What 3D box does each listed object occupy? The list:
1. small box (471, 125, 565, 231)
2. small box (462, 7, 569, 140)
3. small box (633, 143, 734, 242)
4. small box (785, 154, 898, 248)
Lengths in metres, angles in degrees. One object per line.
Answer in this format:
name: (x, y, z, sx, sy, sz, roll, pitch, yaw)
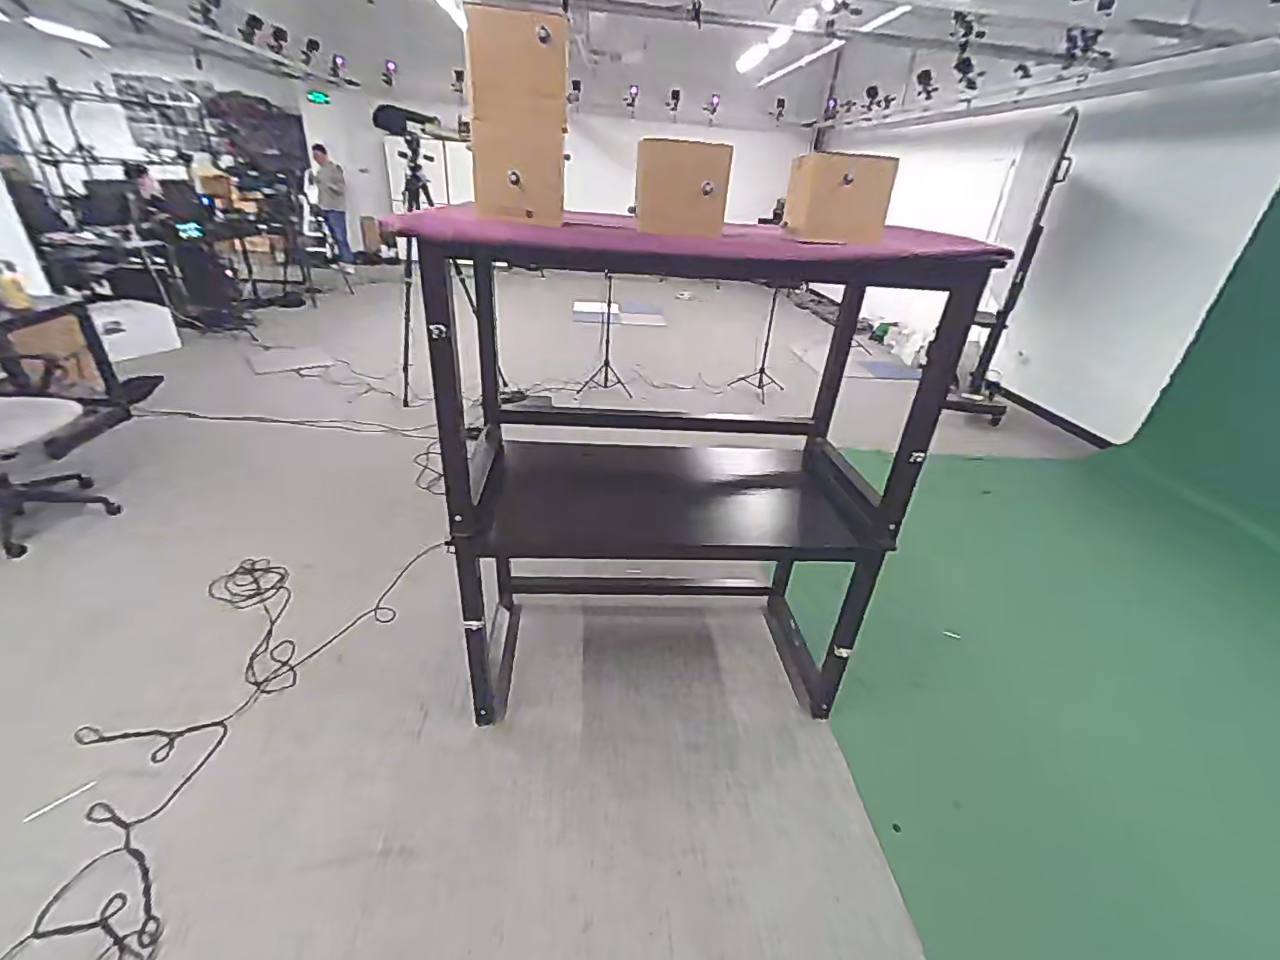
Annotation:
small box: (-0.237, -0.604, 1.089, 0.168, 0.176, 0.179, 2, 29, -7)
small box: (-0.223, -0.745, 1.010, 0.179, 0.176, 0.168, 1, 30, -8)
small box: (0.082, -0.597, 1.130, 0.179, 0.176, 0.168, 0, 29, -6)
small box: (0.427, -0.604, 1.184, 0.179, 0.176, 0.168, 2, 27, -4)
